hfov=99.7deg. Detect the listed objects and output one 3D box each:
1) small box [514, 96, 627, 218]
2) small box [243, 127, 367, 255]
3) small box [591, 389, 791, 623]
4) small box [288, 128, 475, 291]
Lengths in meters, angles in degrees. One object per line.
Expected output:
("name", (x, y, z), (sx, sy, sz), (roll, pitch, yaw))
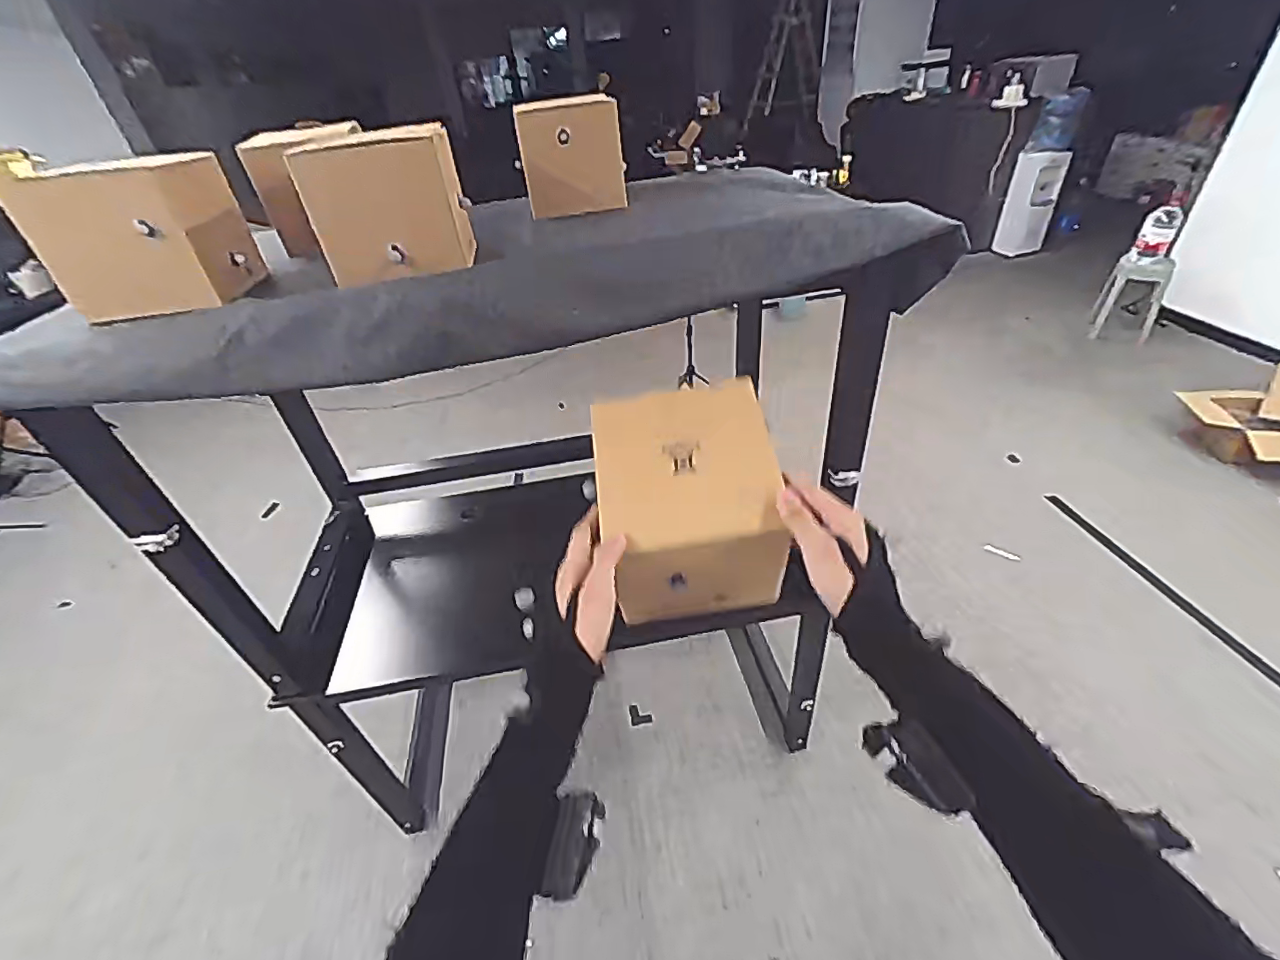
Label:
("small box", (-0.127, -0.601, 1.007), (0.179, 0.176, 0.168), (-10, 39, -4))
("small box", (-0.549, -0.512, 0.957), (0.168, 0.176, 0.179), (-15, 39, -9))
("small box", (0.049, 0.036, 0.564), (0.168, 0.176, 0.179), (-10, 53, 2))
("small box", (-0.340, -0.380, 0.757), (0.179, 0.176, 0.168), (-10, 37, -5))
